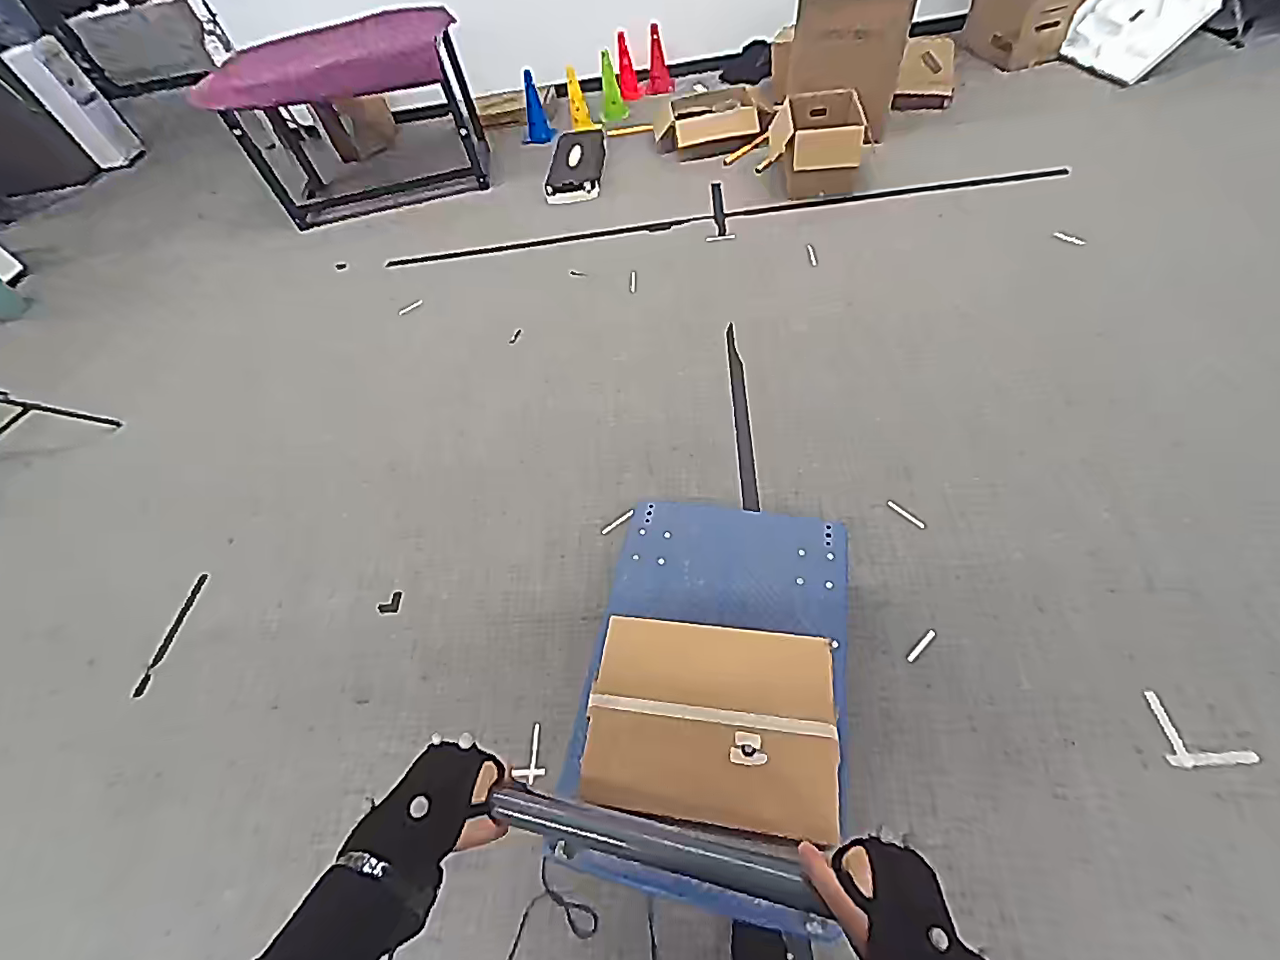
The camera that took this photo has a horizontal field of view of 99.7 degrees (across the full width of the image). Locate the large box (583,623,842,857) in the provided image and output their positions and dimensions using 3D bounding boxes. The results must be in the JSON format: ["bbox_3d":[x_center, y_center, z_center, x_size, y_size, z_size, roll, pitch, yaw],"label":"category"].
[{"bbox_3d":[0.137,0.494,1.029,0.408,0.320,0.320,4,54,10],"label":"large box"}]
